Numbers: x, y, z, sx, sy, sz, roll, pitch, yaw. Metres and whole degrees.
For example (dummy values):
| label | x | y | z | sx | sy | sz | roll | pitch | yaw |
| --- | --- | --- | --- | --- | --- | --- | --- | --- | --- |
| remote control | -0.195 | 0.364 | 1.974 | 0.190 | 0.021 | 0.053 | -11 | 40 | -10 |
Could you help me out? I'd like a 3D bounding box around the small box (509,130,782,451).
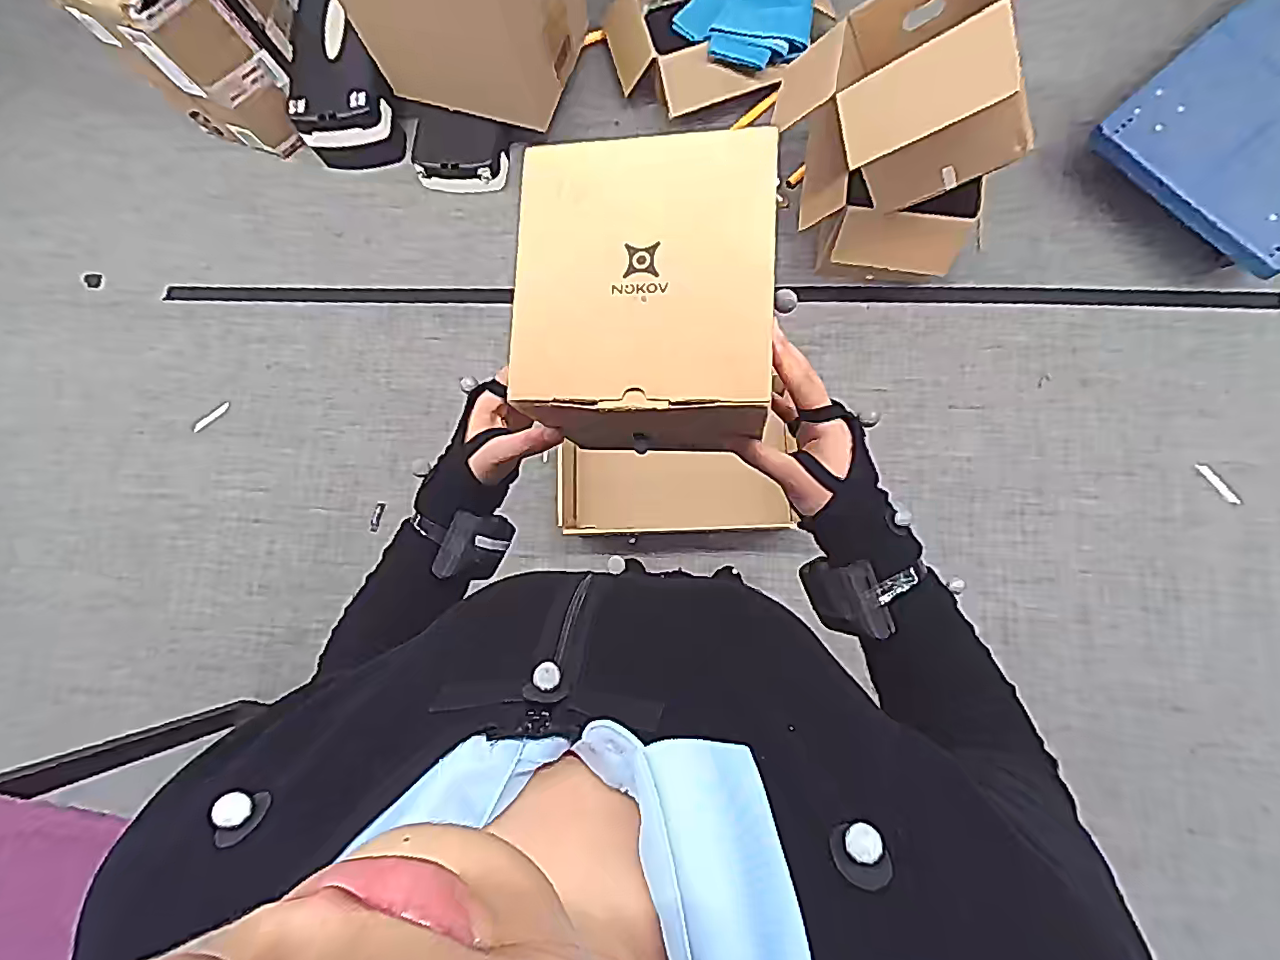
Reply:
| label | x | y | z | sx | sy | sz | roll | pitch | yaw |
| --- | --- | --- | --- | --- | --- | --- | --- | --- | --- |
| small box | 0.015 | -0.123 | 0.414 | 0.168 | 0.176 | 0.179 | 1 | 84 | 10 |
